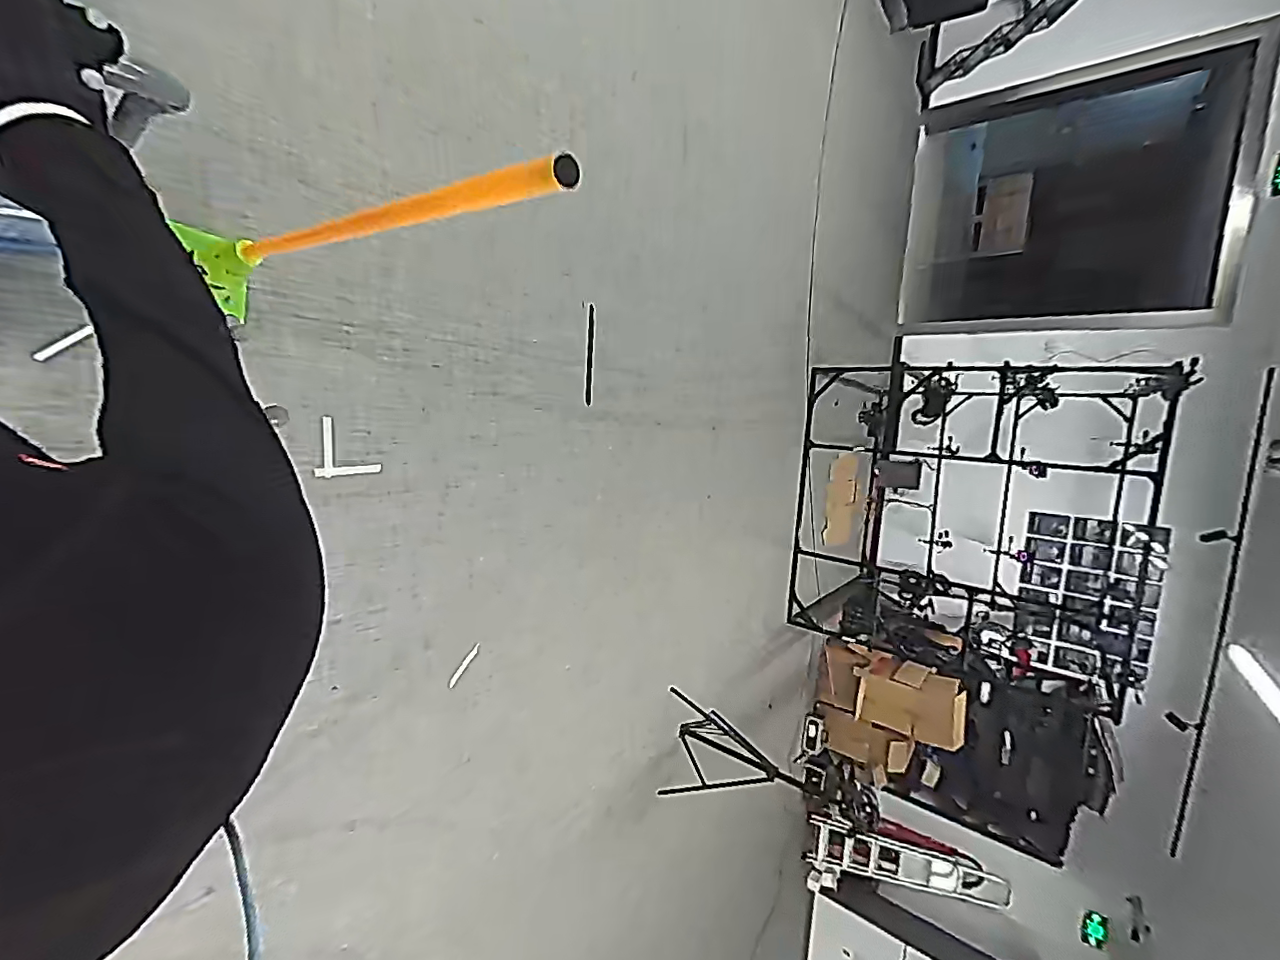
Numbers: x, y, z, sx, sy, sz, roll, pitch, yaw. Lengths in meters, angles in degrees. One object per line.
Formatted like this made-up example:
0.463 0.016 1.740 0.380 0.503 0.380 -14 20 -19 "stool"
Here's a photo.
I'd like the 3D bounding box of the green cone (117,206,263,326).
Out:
-0.830 -0.425 1.046 0.202 0.368 0.200 2 96 -55 "green cone"
